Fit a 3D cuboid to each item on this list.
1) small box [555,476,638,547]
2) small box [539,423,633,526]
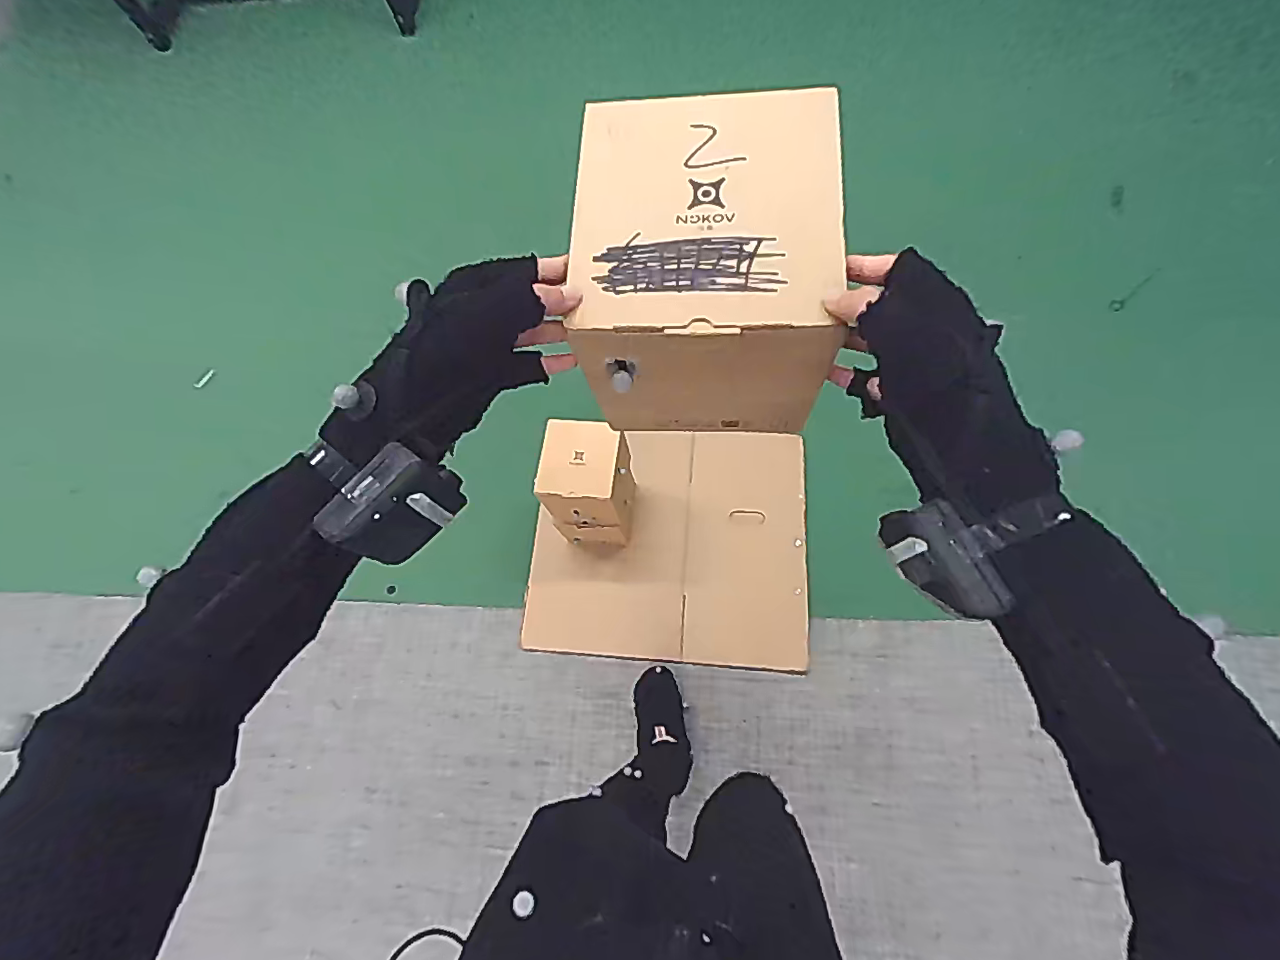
[{"bbox_3d":[-0.101,0.062,1.357,0.168,0.176,0.179,3,68,8],"label":"small box"},{"bbox_3d":[-0.112,-0.009,1.211,0.168,0.176,0.179,5,69,8],"label":"small box"}]
